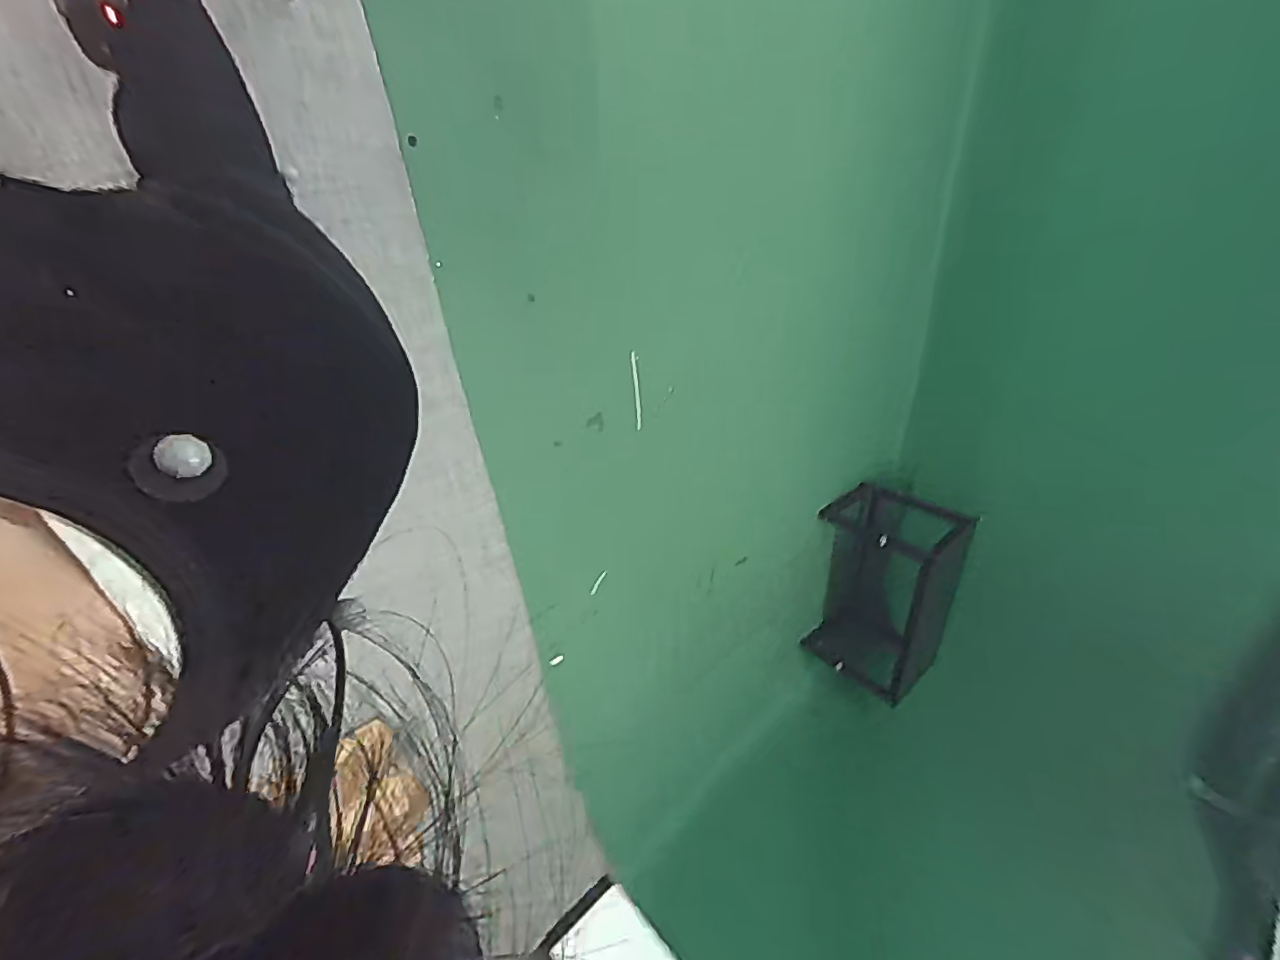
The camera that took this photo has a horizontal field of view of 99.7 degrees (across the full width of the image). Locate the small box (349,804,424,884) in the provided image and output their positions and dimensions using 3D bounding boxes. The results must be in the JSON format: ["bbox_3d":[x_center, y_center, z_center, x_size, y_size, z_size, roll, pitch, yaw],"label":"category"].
[{"bbox_3d":[-0.884,1.235,1.883,0.179,0.176,0.168,-22,124,-36],"label":"small box"}]

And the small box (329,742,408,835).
[{"bbox_3d":[-0.884,0.989,1.756,0.168,0.176,0.179,-23,125,-35],"label":"small box"}]
